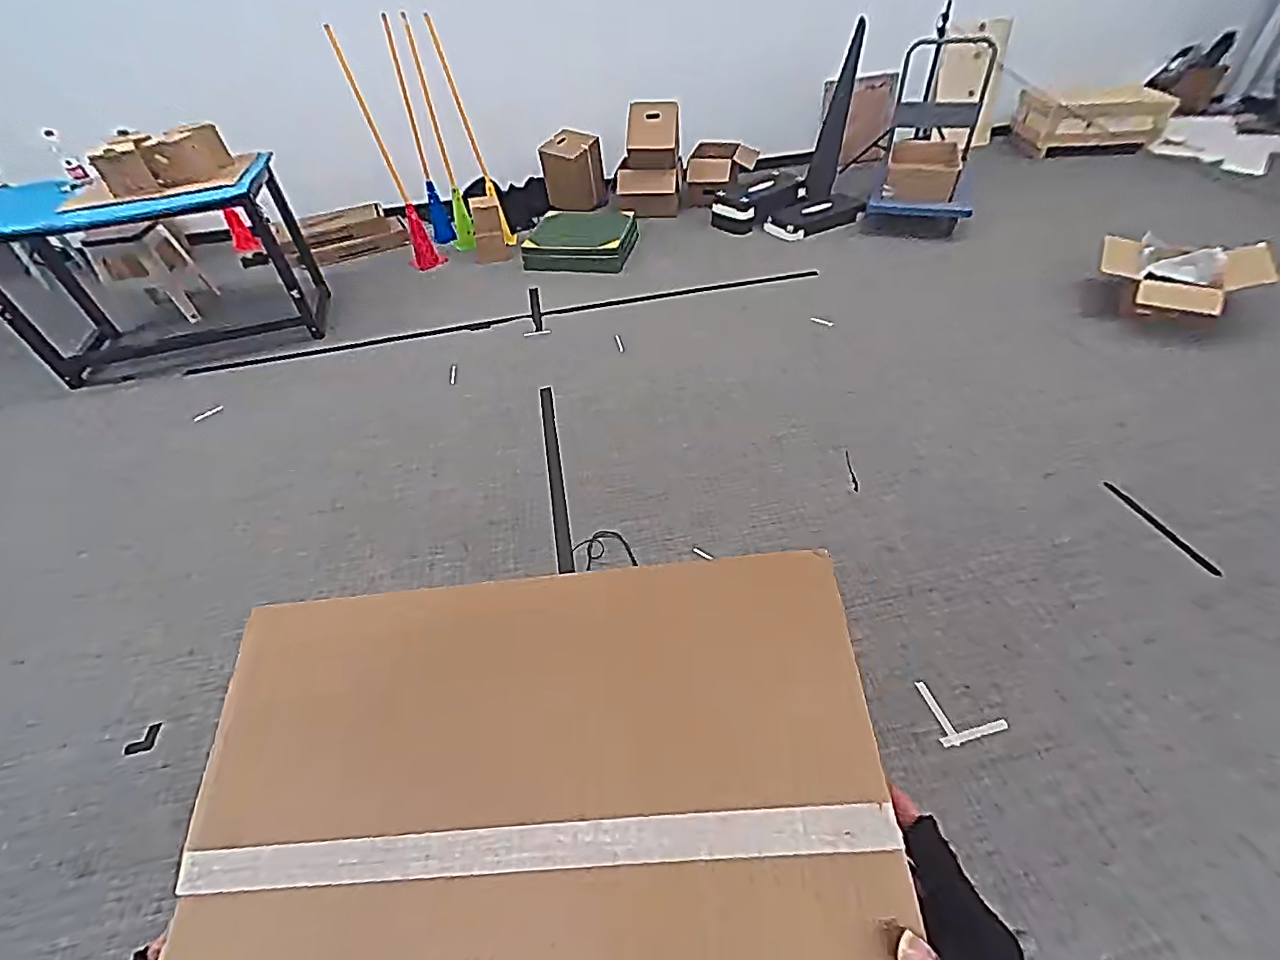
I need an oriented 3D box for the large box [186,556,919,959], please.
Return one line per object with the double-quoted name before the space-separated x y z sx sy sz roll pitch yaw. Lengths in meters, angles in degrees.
"large box" -0.044 0.280 0.440 0.408 0.320 0.320 -7 62 5
